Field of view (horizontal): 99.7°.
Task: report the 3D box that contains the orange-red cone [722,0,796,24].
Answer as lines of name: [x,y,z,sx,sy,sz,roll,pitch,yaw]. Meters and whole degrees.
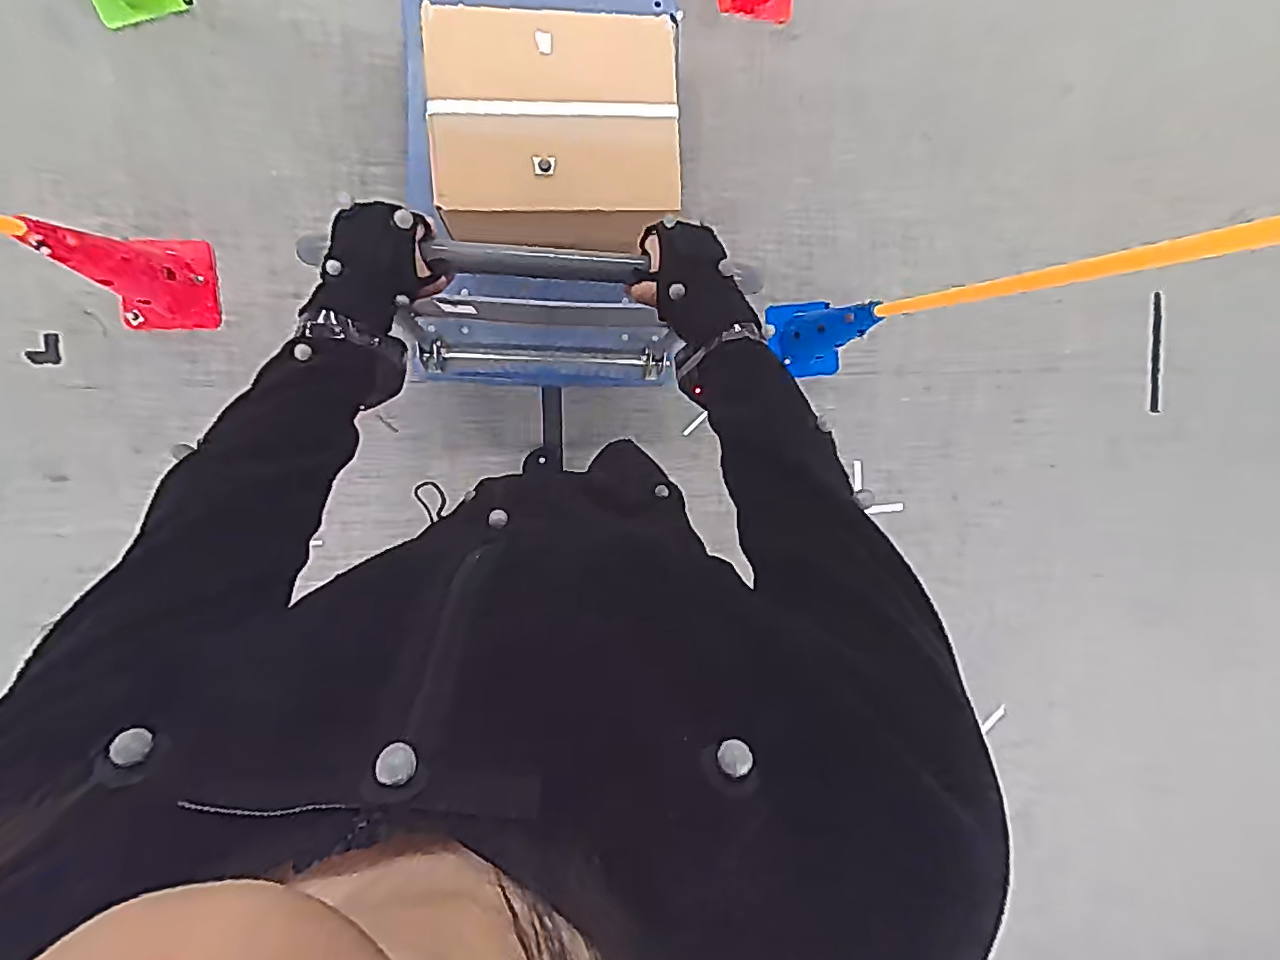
orange-red cone: [0.339,-1.268,1.209,0.199,0.360,0.198,5,95,-10]

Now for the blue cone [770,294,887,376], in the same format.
blue cone: [0.478,-0.375,1.321,0.193,0.380,0.192,-6,94,-9]
